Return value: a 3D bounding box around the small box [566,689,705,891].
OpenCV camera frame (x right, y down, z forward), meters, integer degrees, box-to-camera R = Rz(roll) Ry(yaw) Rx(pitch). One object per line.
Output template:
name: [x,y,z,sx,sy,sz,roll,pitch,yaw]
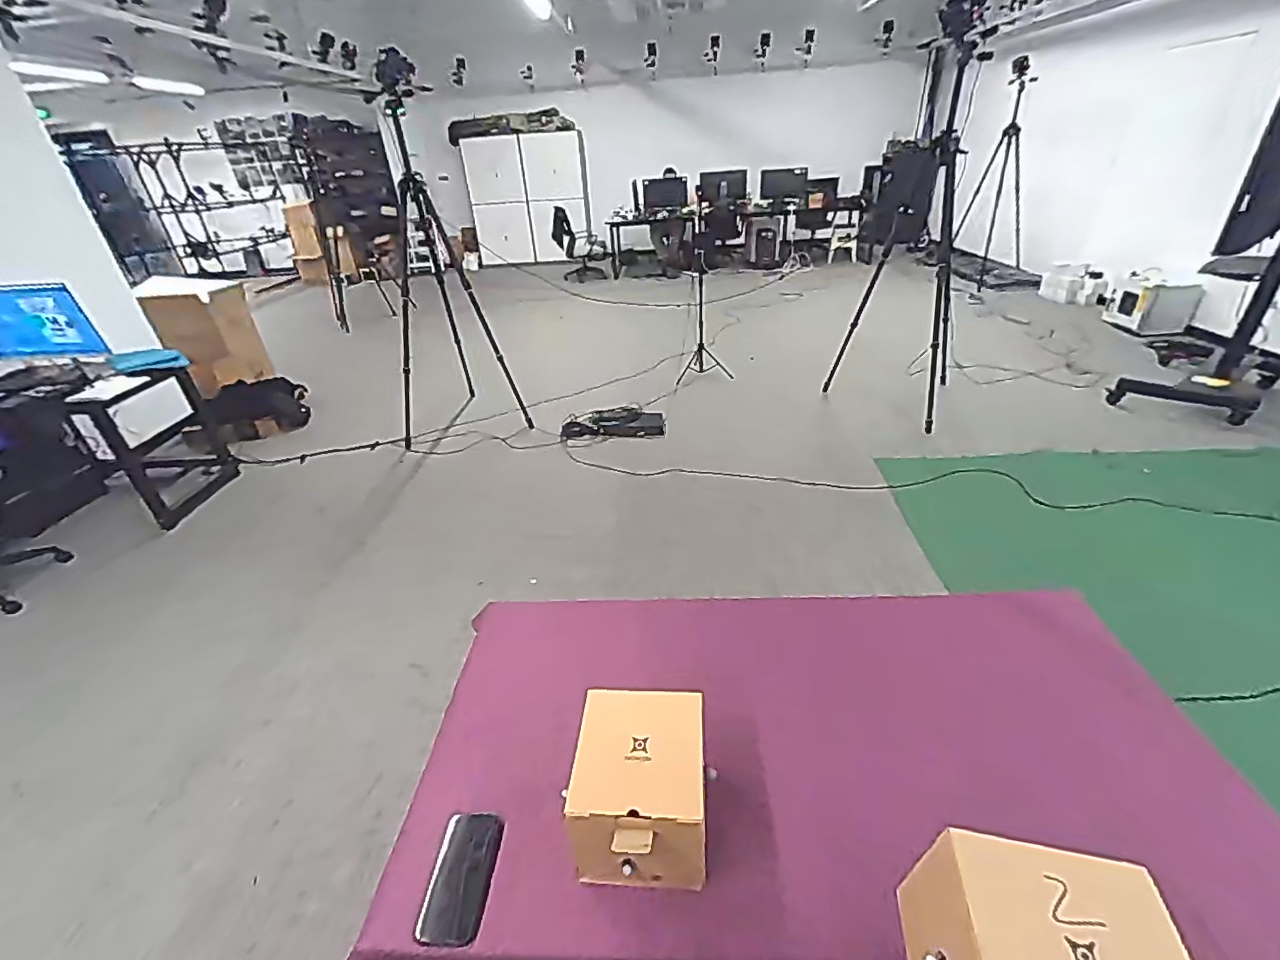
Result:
small box: [0.003,0.416,0.739,0.168,0.176,0.179,1,31,6]
